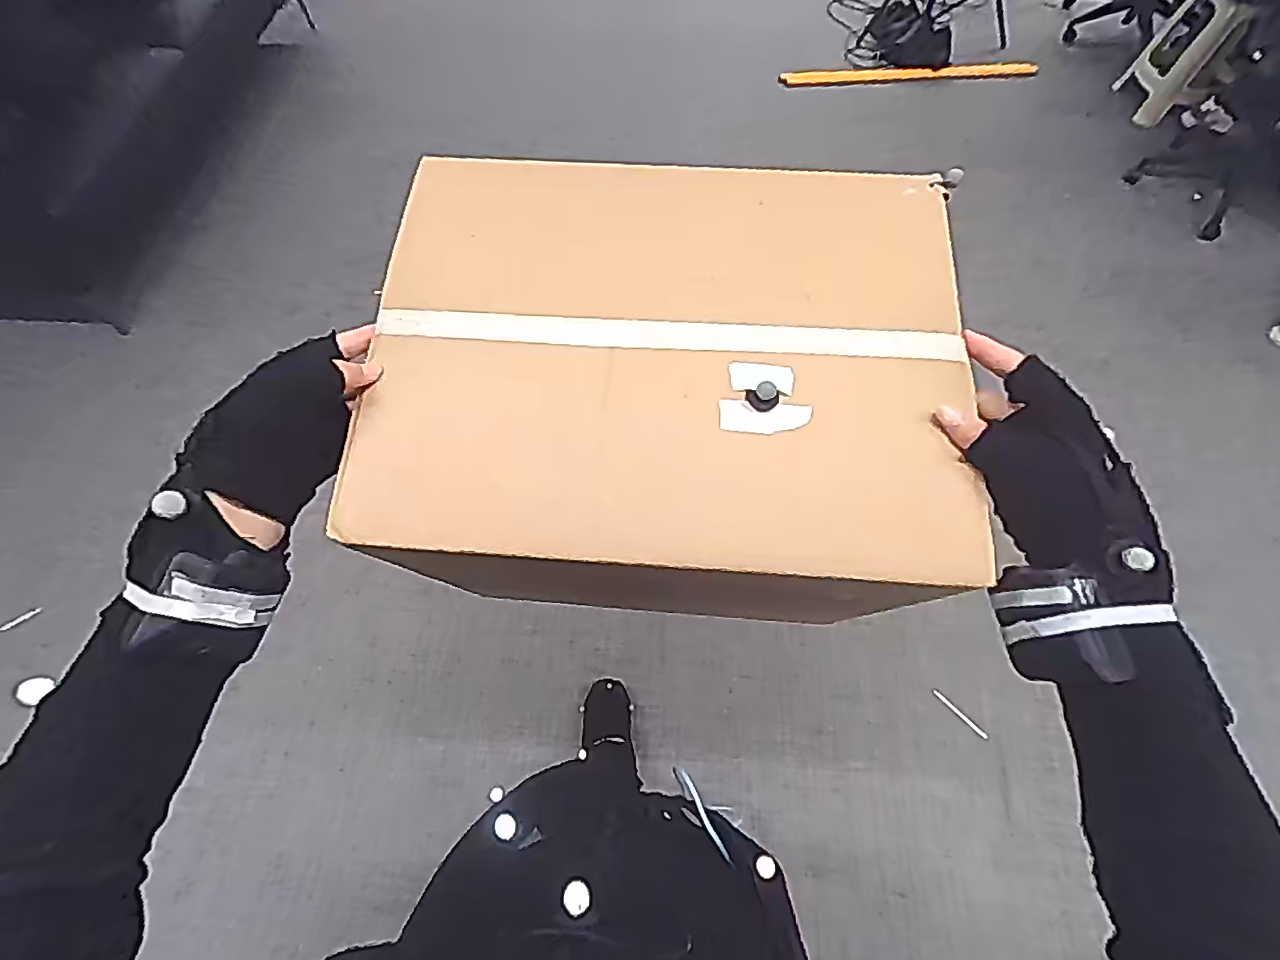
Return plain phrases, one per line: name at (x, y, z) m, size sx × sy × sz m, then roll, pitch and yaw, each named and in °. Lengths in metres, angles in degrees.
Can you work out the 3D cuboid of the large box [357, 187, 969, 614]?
large box at (0.020, -0.046, 0.534) m, size 0.408 × 0.320 × 0.320 m, roll 3°, pitch 72°, yaw 3°
